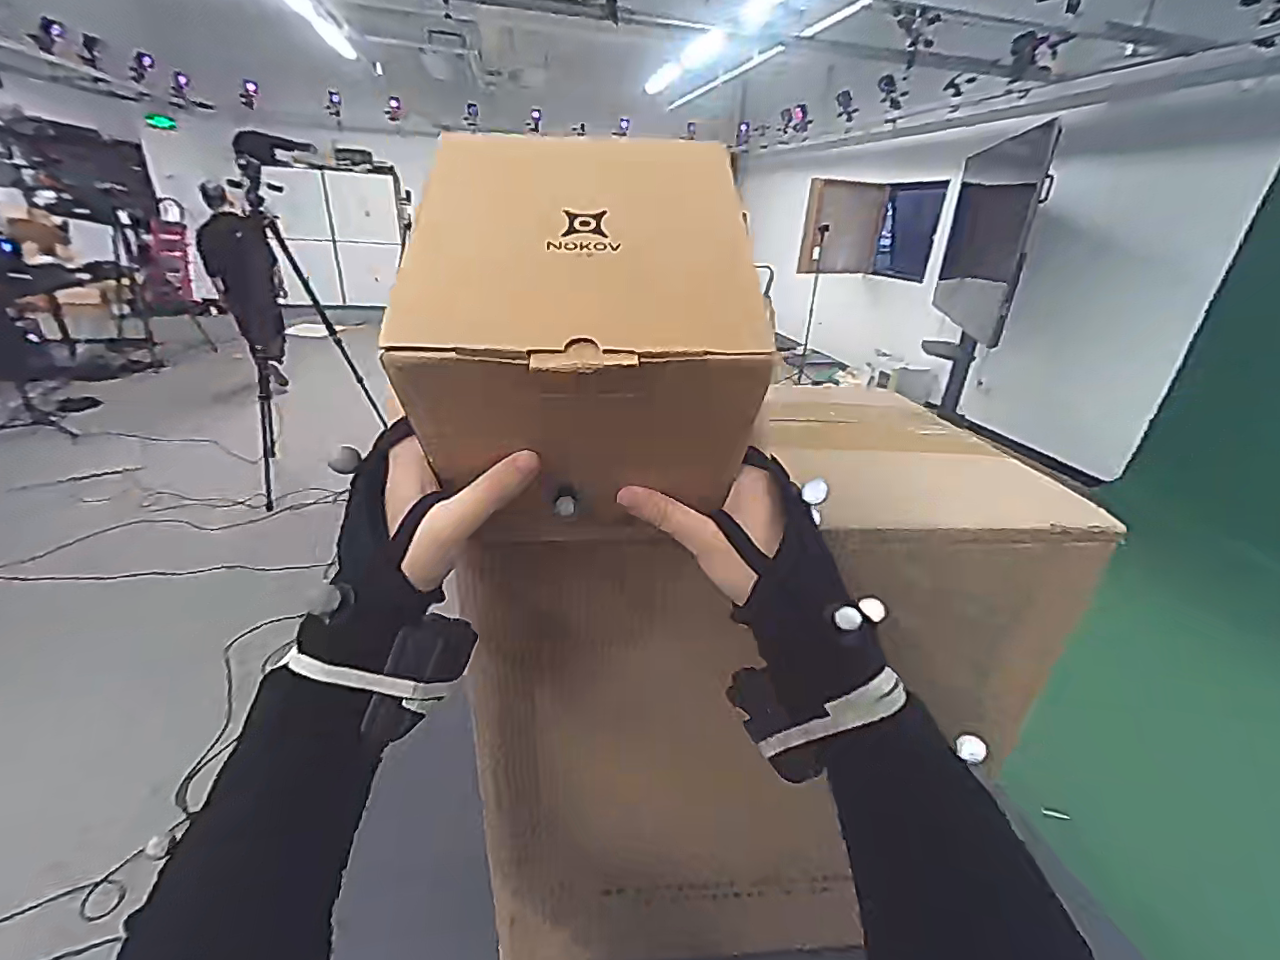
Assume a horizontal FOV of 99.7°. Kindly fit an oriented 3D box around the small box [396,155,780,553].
[{"bbox_3d":[-0.029,-0.069,0.339,0.168,0.176,0.179,0,58,-5],"label":"small box"}]
